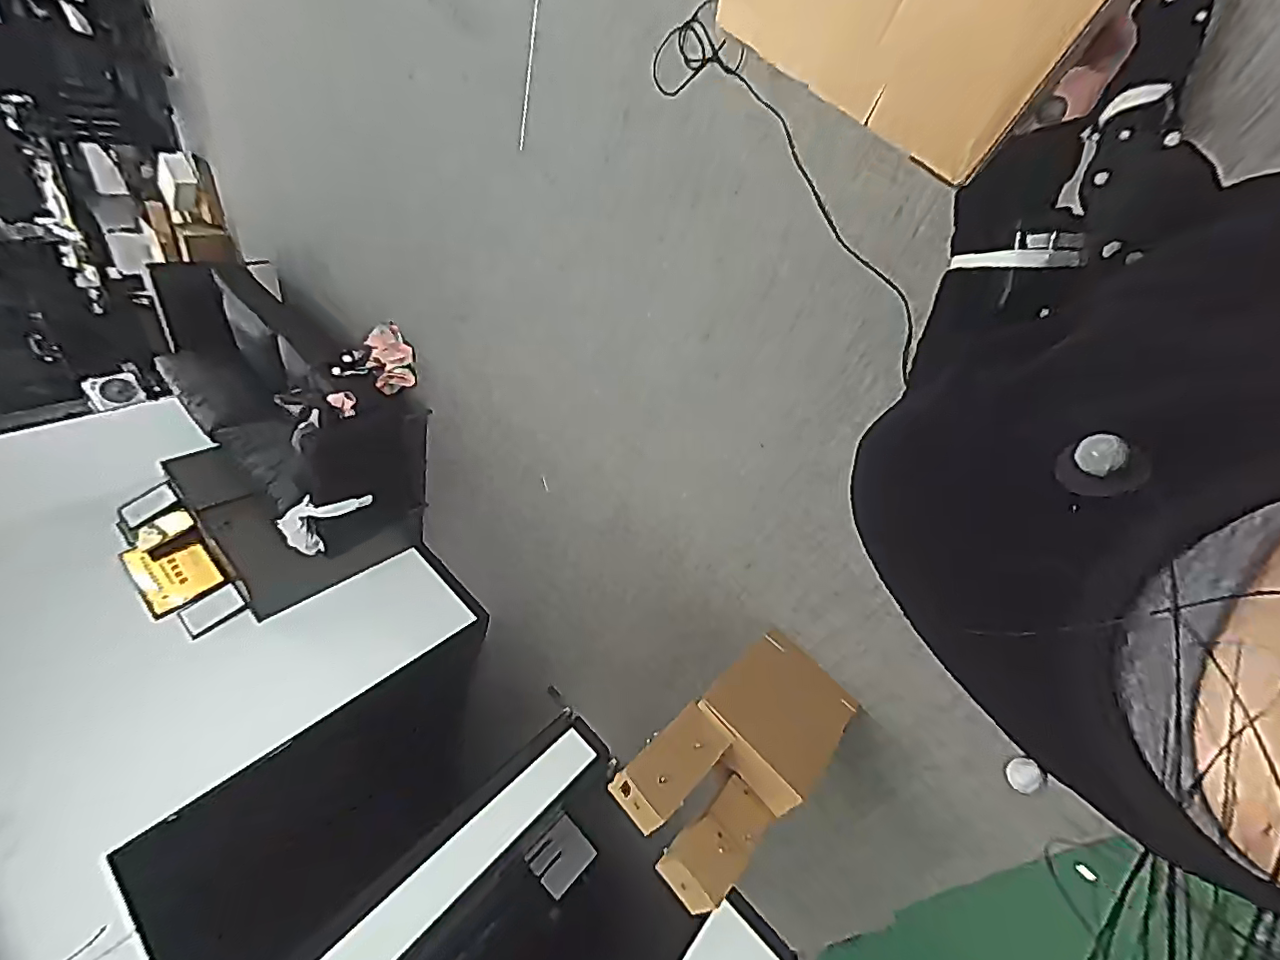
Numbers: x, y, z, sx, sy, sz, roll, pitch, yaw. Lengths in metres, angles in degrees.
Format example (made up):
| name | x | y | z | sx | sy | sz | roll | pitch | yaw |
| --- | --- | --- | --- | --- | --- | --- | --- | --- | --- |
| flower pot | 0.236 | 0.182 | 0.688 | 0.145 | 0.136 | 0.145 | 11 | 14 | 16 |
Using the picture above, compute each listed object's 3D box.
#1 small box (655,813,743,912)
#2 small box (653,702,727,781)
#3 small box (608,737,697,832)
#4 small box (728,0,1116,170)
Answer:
| name | x | y | z | sx | sy | sz | roll | pitch | yaw |
| --- | --- | --- | --- | --- | --- | --- | --- | --- | --- |
| small box | 0.182 | 1.149 | 1.630 | 0.168 | 0.176 | 0.179 | 44 | 135 | 16 |
| small box | 0.149 | 0.860 | 1.749 | 0.179 | 0.176 | 0.168 | 43 | 132 | 18 |
| small box | 0.040 | 0.915 | 1.640 | 0.179 | 0.176 | 0.168 | 44 | 135 | 18 |
| small box | 0.176 | -0.299 | 0.249 | 0.168 | 0.179 | 0.176 | 41 | 157 | 8 |
